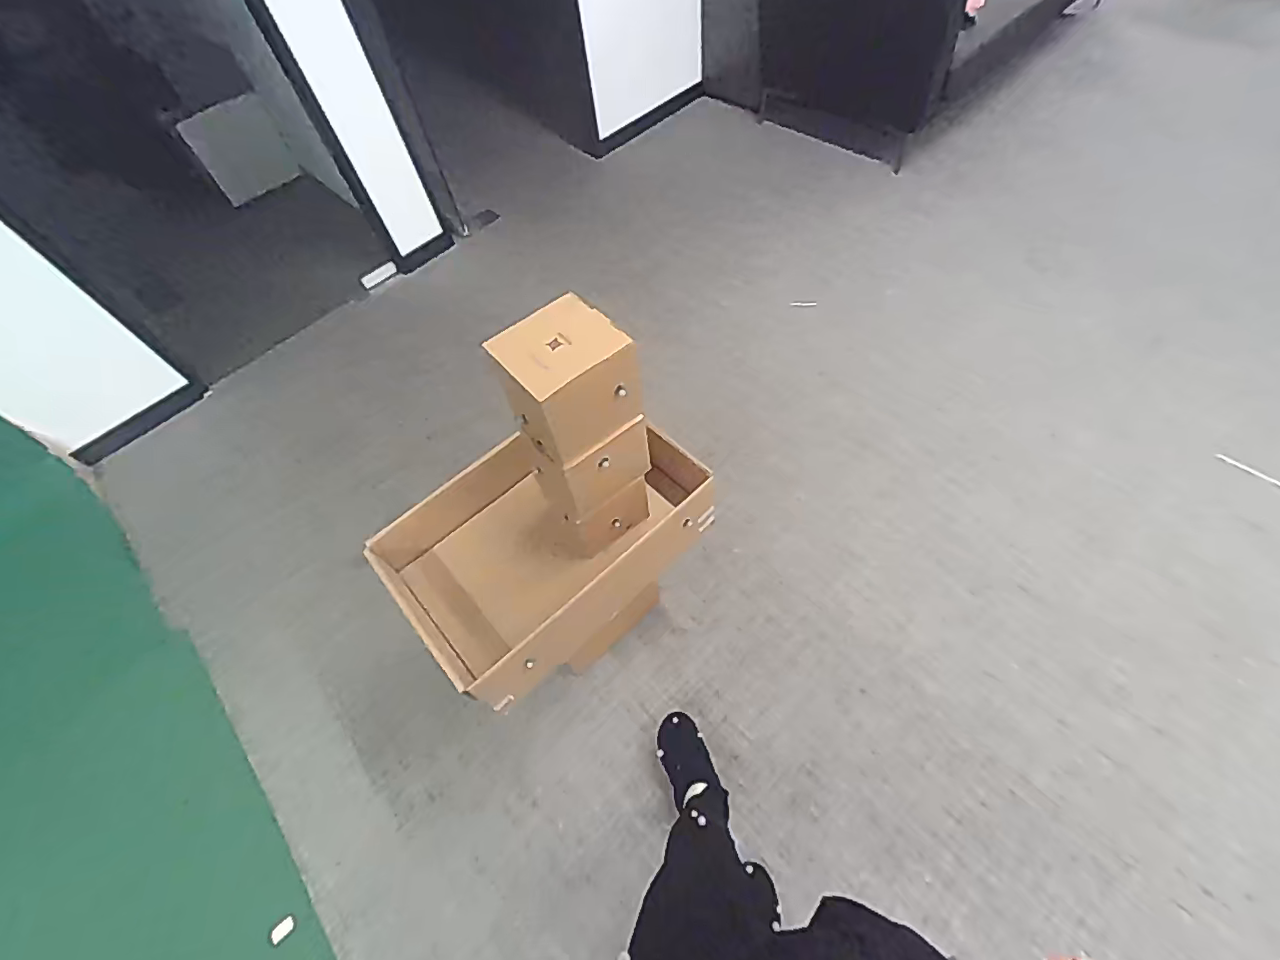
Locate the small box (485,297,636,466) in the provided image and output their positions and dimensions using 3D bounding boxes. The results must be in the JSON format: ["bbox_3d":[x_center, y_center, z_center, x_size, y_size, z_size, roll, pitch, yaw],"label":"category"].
[{"bbox_3d":[-0.119,-0.159,0.890,0.179,0.176,0.168,-37,60,-16],"label":"small box"}]

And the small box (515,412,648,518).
[{"bbox_3d":[-0.101,-0.060,1.019,0.179,0.176,0.168,-36,60,-17],"label":"small box"}]

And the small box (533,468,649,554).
[{"bbox_3d":[-0.097,0.036,1.152,0.168,0.176,0.179,-35,59,-16],"label":"small box"}]
